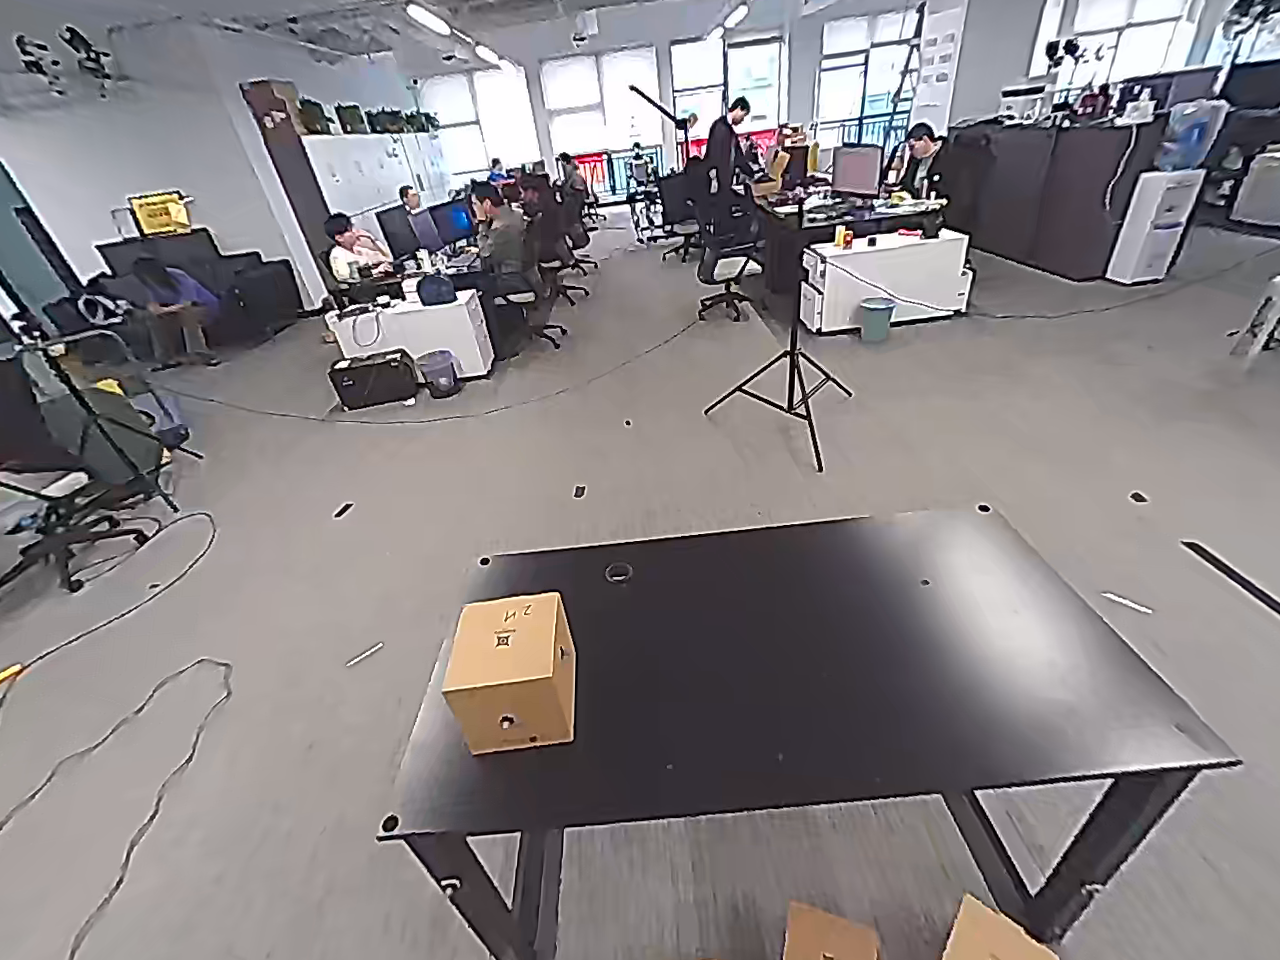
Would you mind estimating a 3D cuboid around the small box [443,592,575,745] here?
[{"bbox_3d":[-0.203,0.316,0.896,0.168,0.176,0.179,-7,33,0],"label":"small box"}]

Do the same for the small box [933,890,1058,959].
[{"bbox_3d":[0.676,0.967,1.053,0.168,0.176,0.179,21,43,37],"label":"small box"}]

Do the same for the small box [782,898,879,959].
[{"bbox_3d":[0.376,0.993,1.085,0.179,0.176,0.168,4,35,20],"label":"small box"}]
